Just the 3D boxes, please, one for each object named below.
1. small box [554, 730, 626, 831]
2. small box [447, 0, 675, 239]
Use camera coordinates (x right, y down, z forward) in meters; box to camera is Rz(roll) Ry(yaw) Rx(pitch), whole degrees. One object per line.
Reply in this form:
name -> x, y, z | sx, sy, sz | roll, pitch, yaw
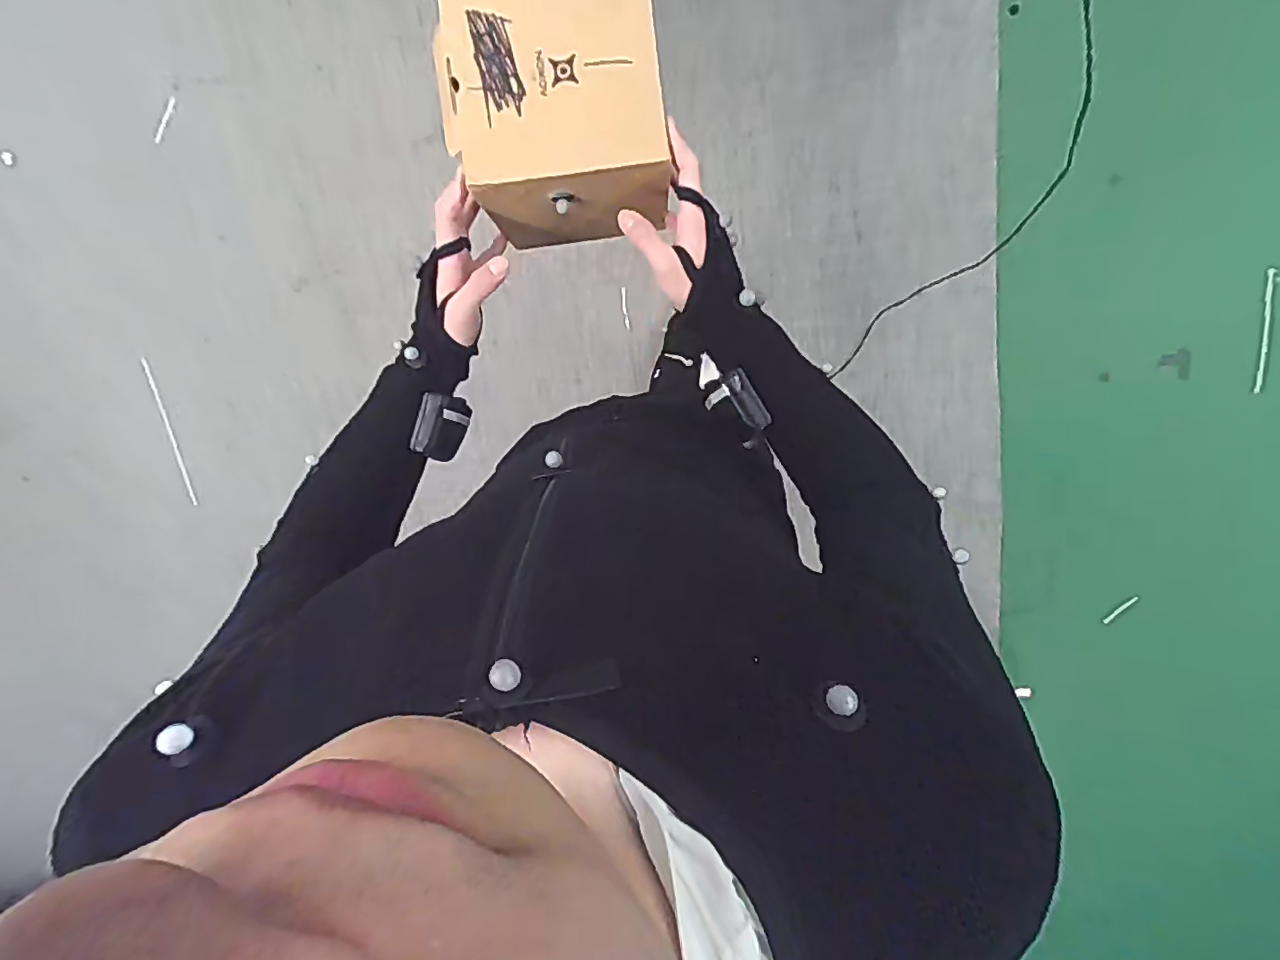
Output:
small box -> -0.127, 0.795, 1.445 | 0.168, 0.176, 0.179 | -1, 102, 5
small box -> -0.063, -0.349, 0.521 | 0.179, 0.176, 0.168 | -7, 97, 1
